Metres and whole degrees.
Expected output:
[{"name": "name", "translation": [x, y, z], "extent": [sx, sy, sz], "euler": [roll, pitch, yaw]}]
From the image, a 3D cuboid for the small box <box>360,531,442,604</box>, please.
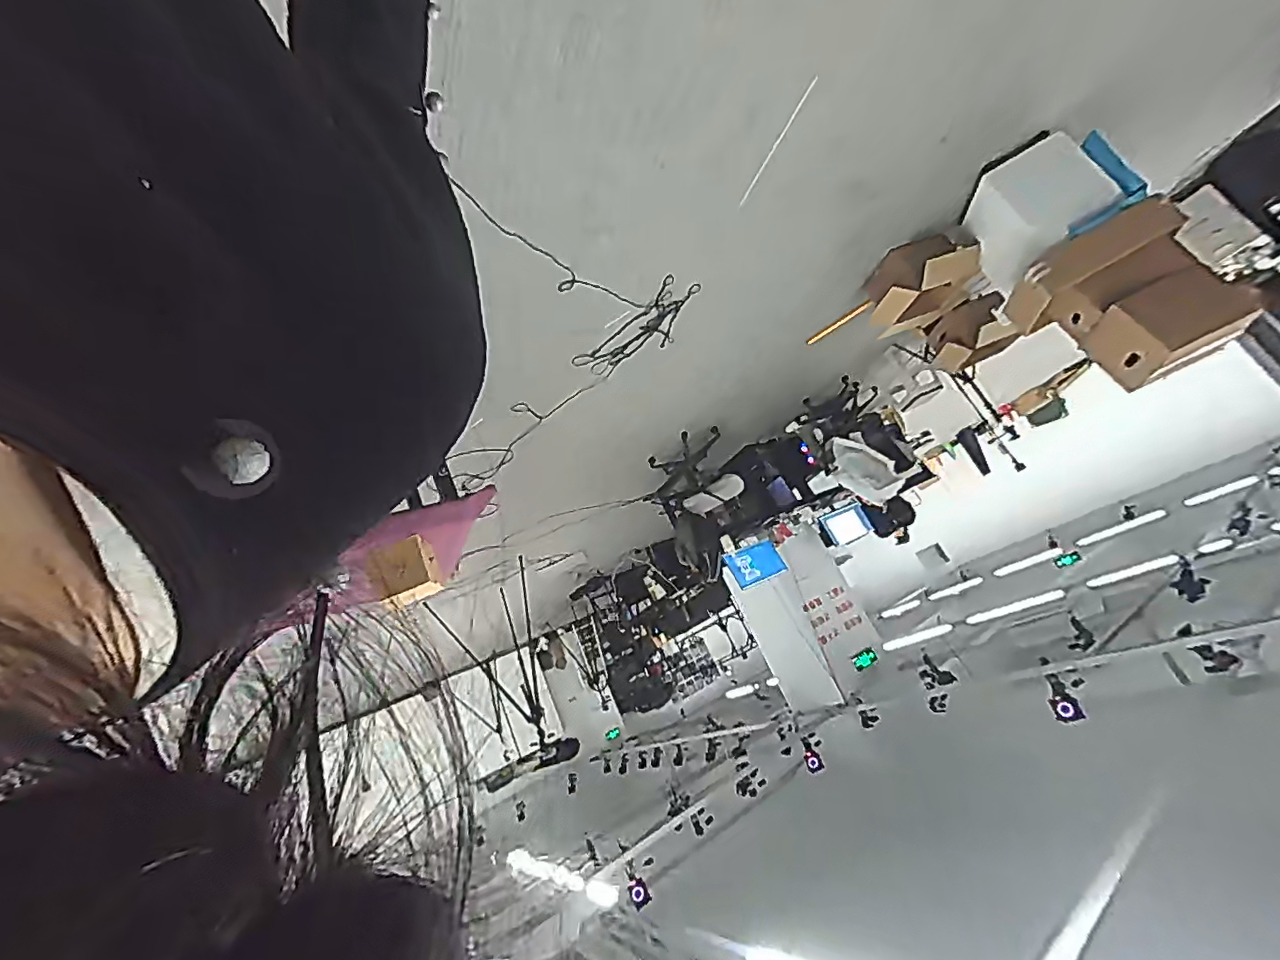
[{"name": "small box", "translation": [-0.782, 0.286, 1.772], "extent": [0.179, 0.176, 0.168], "euler": [-23, 163, -11]}]
